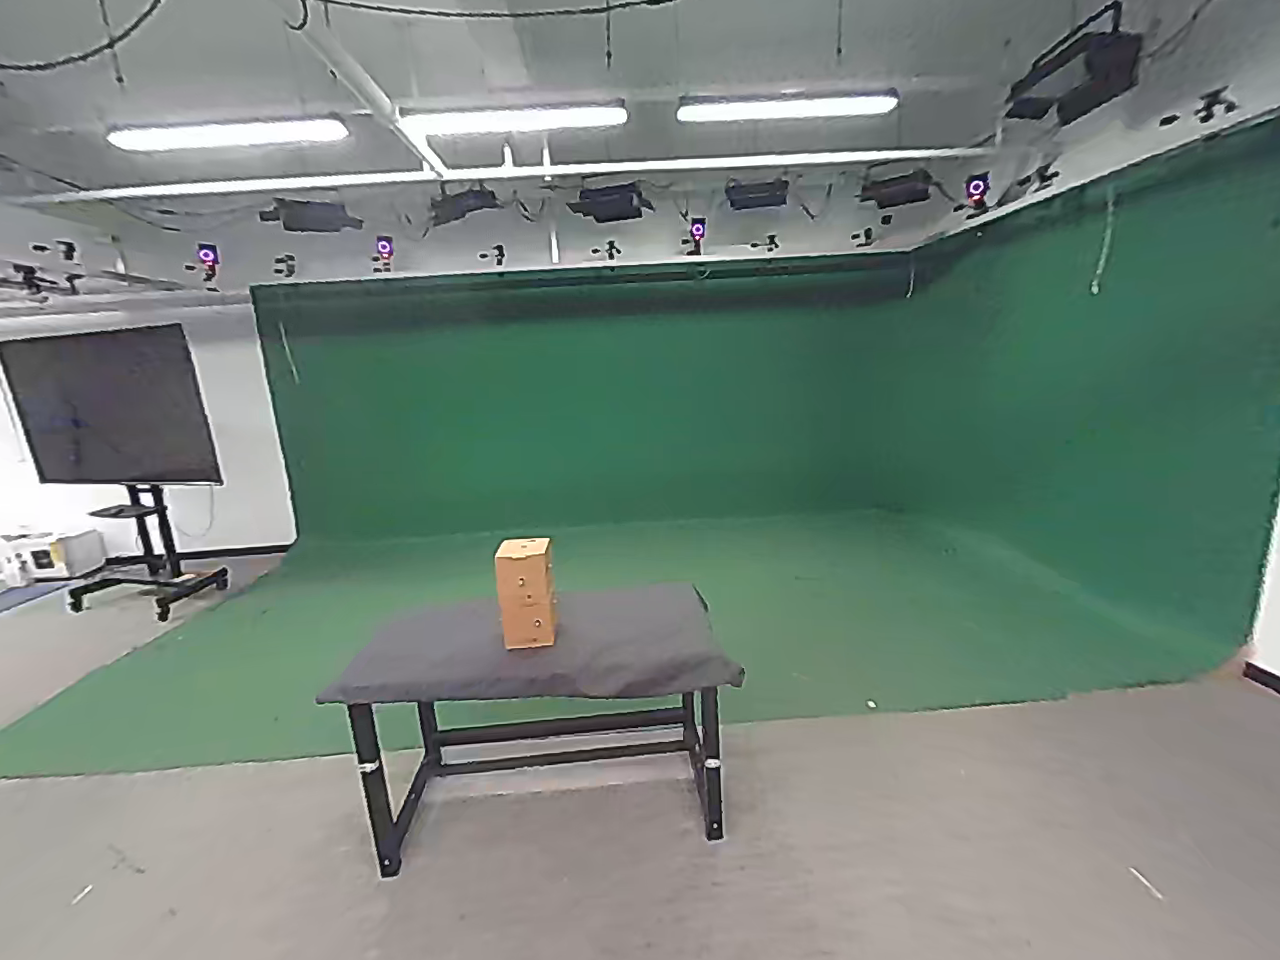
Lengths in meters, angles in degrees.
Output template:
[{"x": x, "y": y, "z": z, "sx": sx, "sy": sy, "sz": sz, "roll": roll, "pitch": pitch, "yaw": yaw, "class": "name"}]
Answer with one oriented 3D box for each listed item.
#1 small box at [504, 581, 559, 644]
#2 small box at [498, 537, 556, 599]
[{"x": -0.377, "y": 0.470, "z": 1.911, "sx": 0.168, "sy": 0.176, "sz": 0.179, "roll": -2, "pitch": 11, "yaw": -4, "class": "small box"}, {"x": -0.387, "y": 0.309, "z": 1.882, "sx": 0.168, "sy": 0.176, "sz": 0.179, "roll": -2, "pitch": 13, "yaw": -2, "class": "small box"}]
